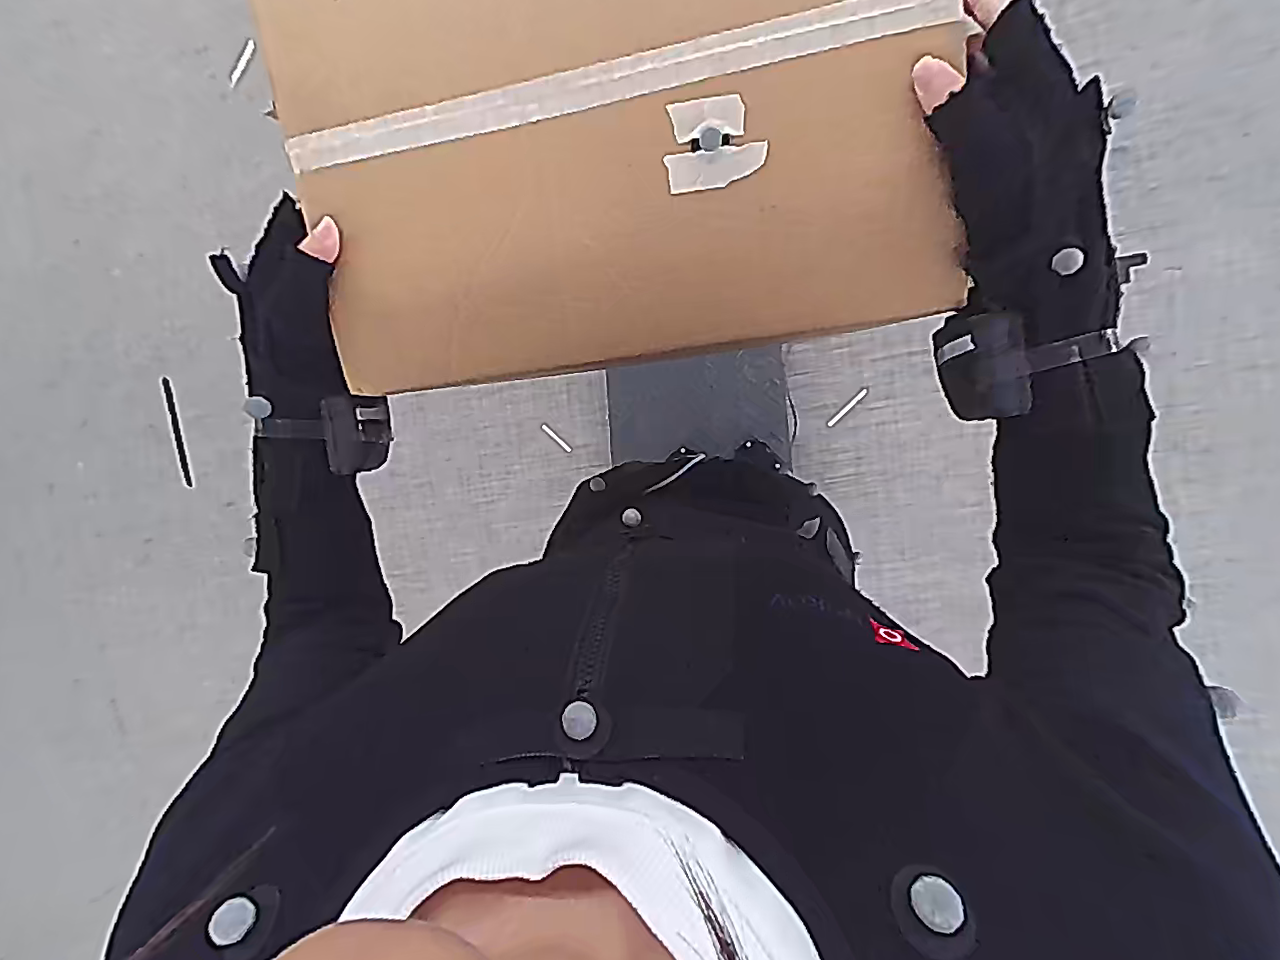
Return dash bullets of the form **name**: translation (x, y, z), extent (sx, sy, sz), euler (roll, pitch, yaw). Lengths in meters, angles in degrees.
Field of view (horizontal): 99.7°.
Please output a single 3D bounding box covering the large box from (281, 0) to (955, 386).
- **large box**: translation (-0.005, -0.271, 0.478), extent (0.408, 0.320, 0.320), euler (-7, 102, 9)
